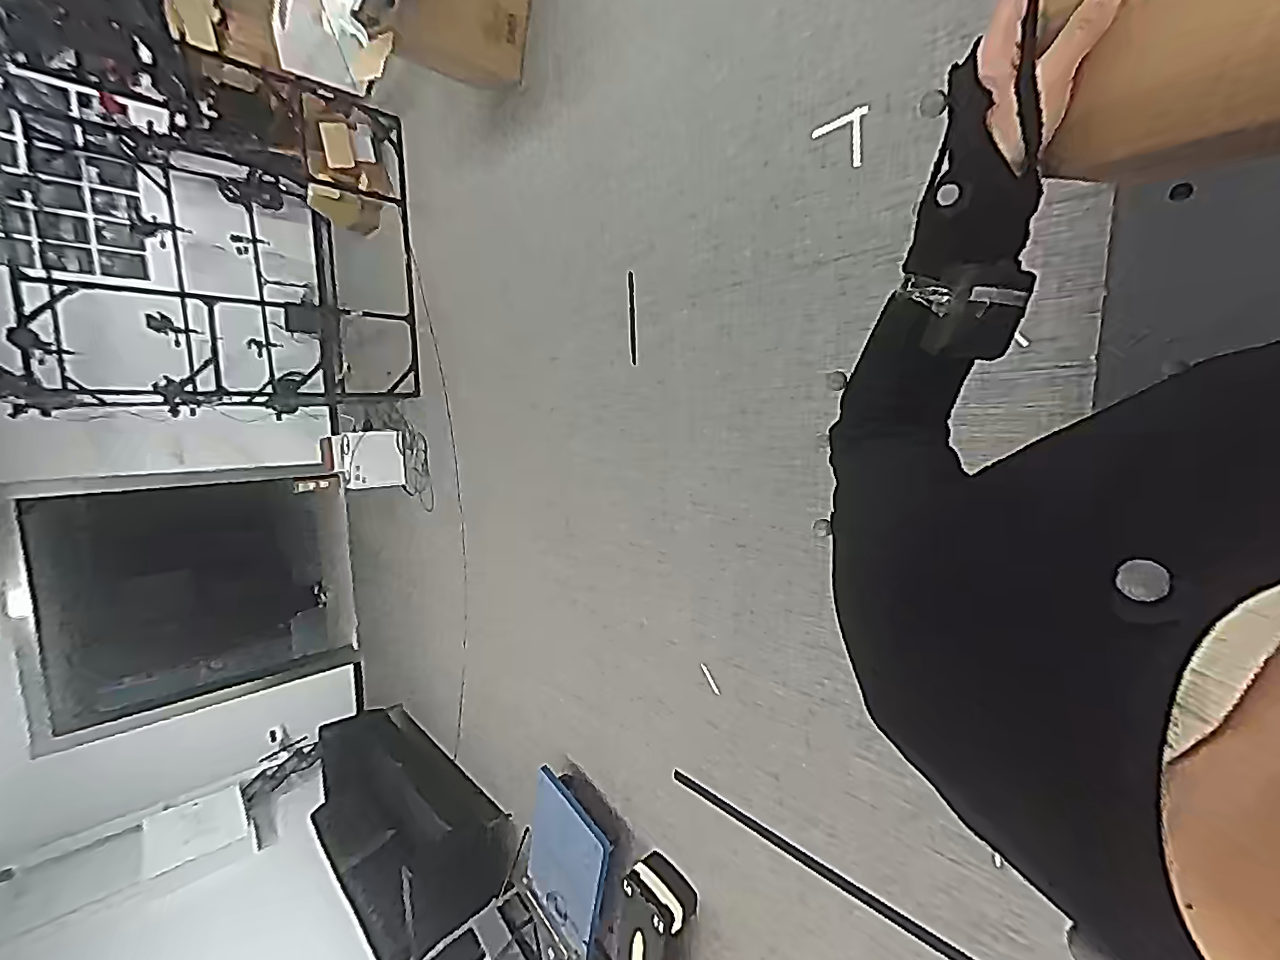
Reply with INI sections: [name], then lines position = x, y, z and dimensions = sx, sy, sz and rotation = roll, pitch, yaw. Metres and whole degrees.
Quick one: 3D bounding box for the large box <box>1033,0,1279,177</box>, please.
[large box]
position = 0.470, -0.370, 0.255
dimensions = 0.408, 0.320, 0.320
rotation = 11, 118, 46
